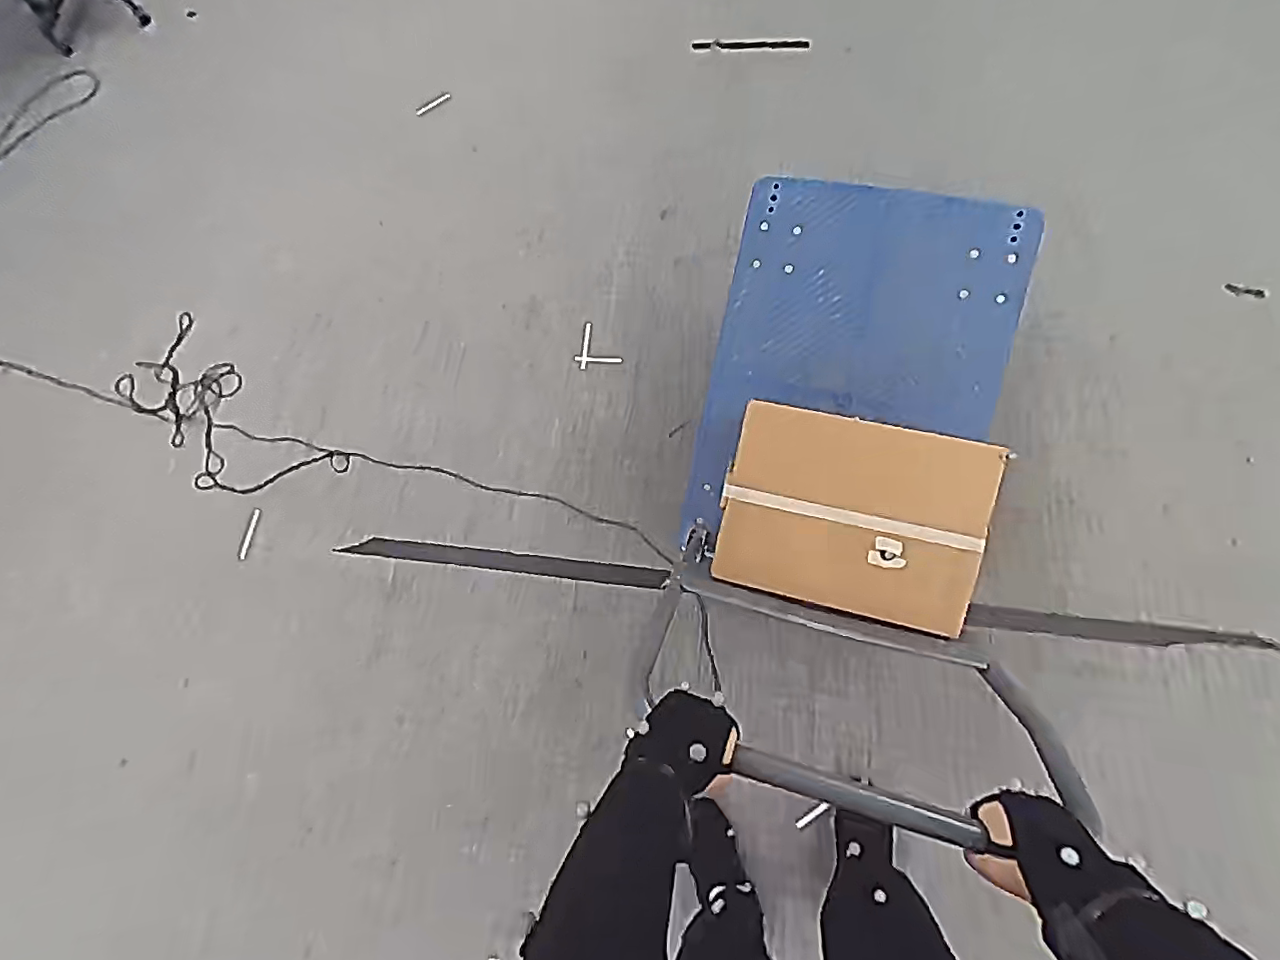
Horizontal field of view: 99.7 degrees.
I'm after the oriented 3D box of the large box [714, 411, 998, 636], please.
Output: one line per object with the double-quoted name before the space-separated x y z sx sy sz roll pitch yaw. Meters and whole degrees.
"large box" 0.374 0.060 1.044 0.408 0.320 0.320 12 97 10
